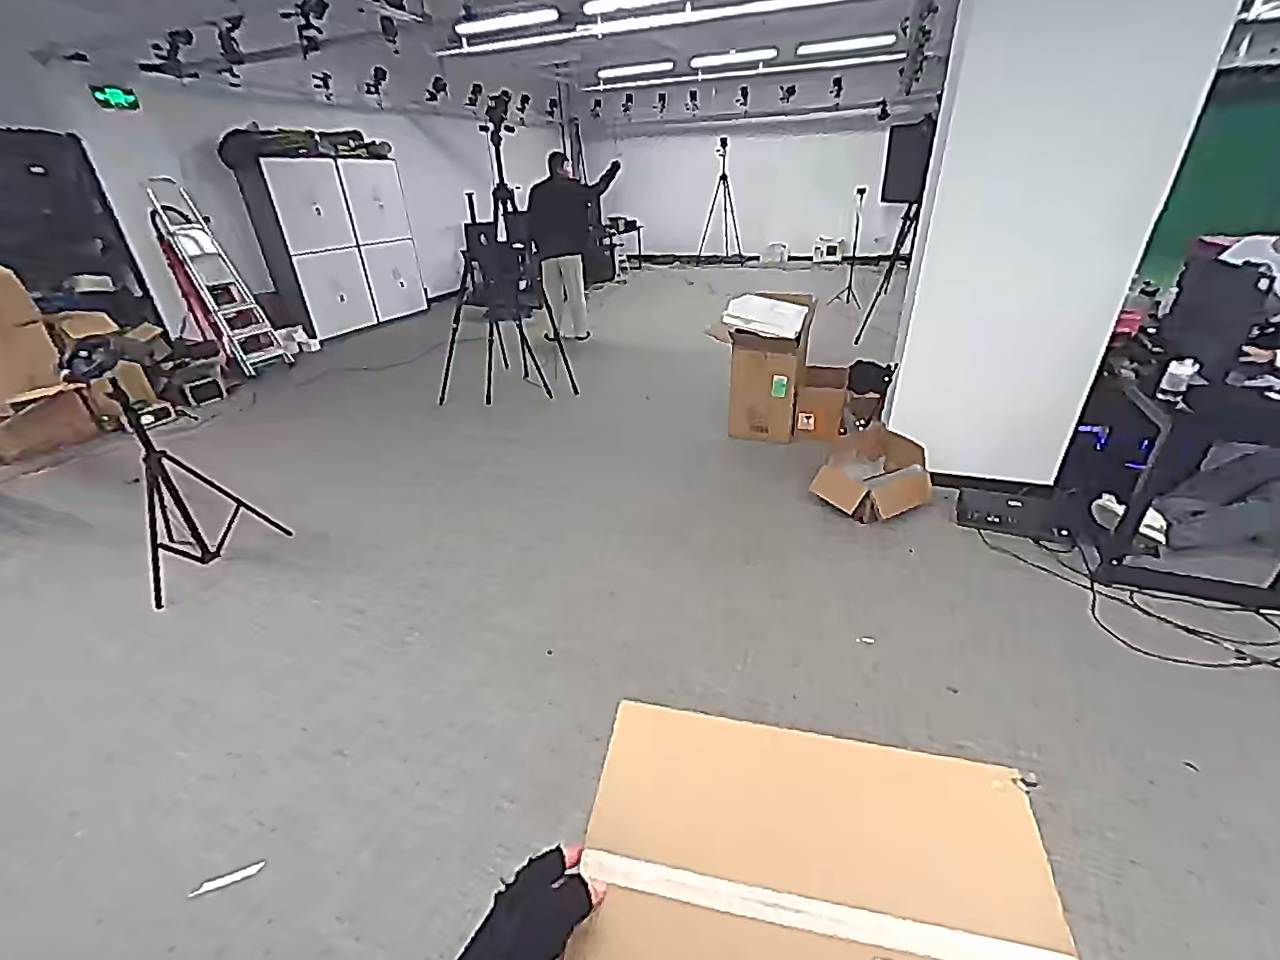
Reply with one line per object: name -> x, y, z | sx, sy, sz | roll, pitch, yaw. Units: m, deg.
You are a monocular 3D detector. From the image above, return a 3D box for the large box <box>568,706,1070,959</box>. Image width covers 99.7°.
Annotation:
large box -> 0.150, 0.480, 0.554 | 0.408, 0.320, 0.320 | 6, 41, 9
